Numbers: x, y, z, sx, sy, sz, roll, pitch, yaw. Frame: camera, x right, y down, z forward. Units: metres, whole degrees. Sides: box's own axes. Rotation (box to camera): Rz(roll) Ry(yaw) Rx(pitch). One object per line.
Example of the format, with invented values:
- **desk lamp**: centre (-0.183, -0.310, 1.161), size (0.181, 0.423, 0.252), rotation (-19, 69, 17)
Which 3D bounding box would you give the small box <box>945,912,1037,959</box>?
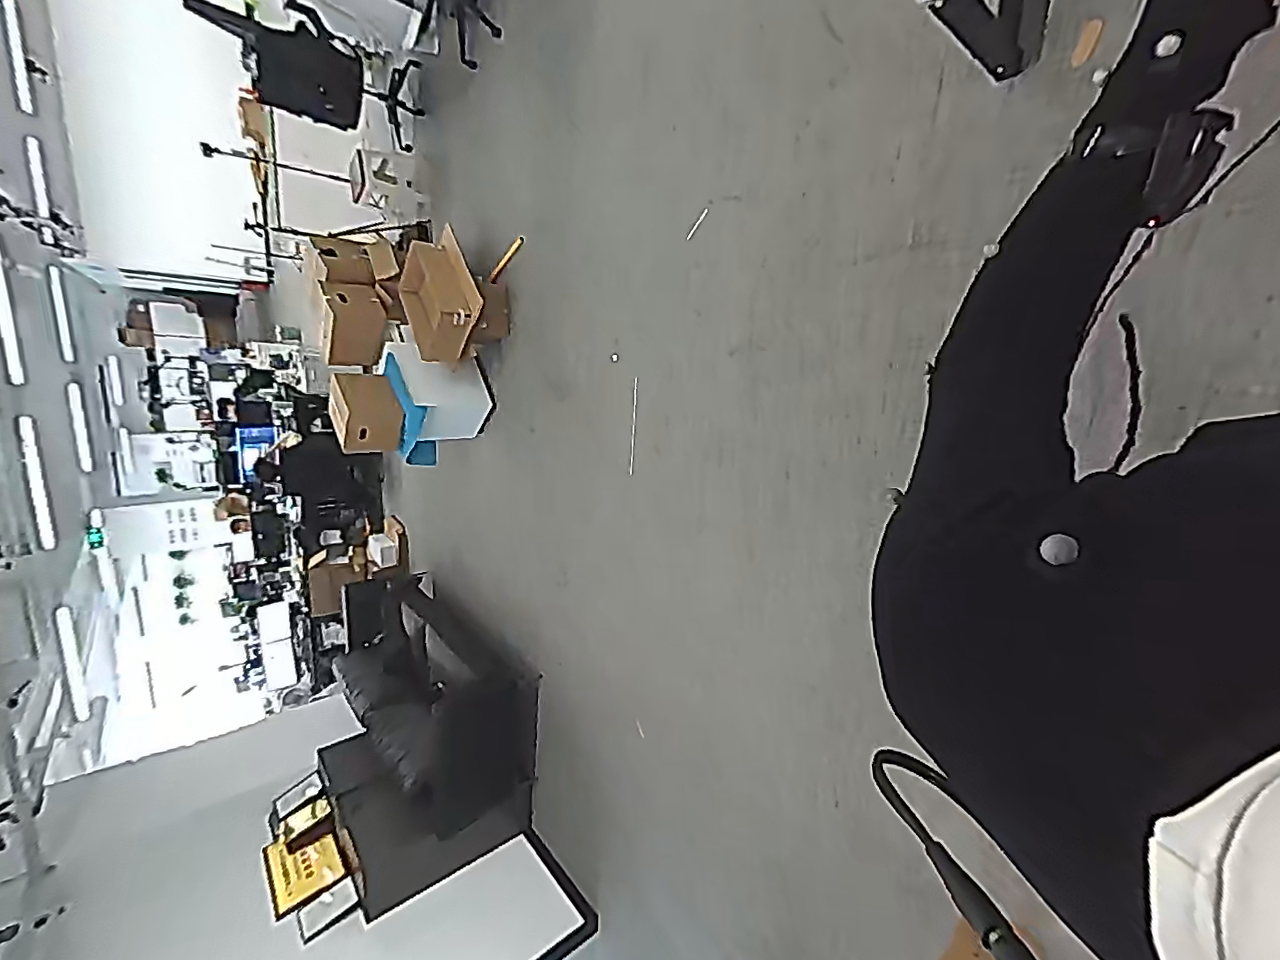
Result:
- **small box**: centre (0.963, 1.361, 1.493), size (0.179, 0.176, 0.168), rotation (19, 109, 48)
